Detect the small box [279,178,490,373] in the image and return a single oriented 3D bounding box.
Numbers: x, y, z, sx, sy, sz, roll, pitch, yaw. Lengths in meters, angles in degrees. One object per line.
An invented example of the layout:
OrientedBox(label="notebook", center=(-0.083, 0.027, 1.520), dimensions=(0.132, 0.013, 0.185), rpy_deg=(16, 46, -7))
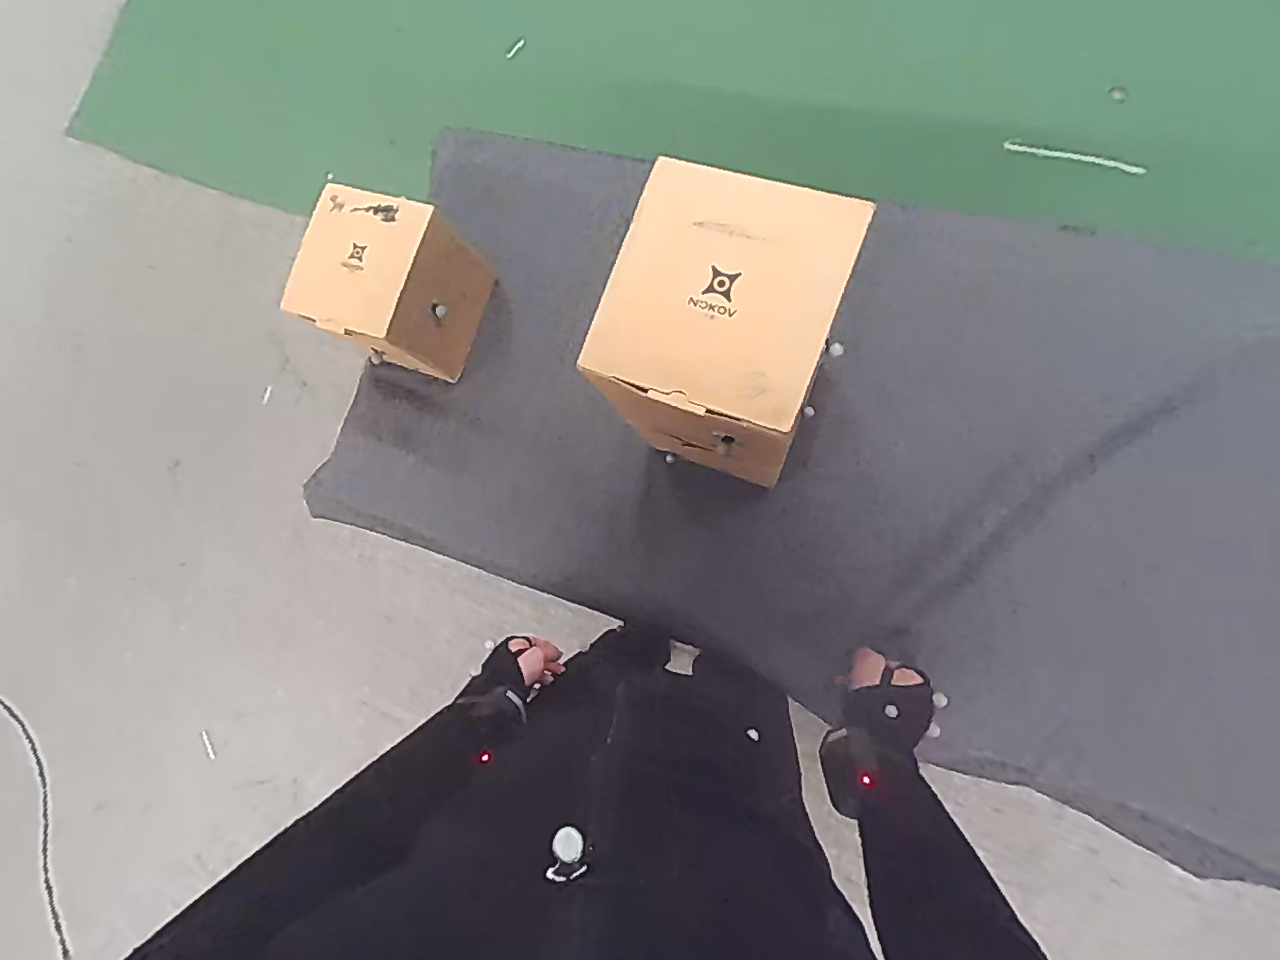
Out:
OrientedBox(label="small box", center=(-0.329, -0.261, 0.729), dimensions=(0.168, 0.176, 0.179), rpy_deg=(19, 89, 12))

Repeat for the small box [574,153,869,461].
OrientedBox(label="small box", center=(0.070, -0.128, 0.461), dimensions=(0.168, 0.176, 0.179), rpy_deg=(20, 87, 12))

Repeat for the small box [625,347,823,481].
OrientedBox(label="small box", center=(0.104, -0.109, 0.617), dimensions=(0.168, 0.176, 0.179), rpy_deg=(20, 87, 14))
